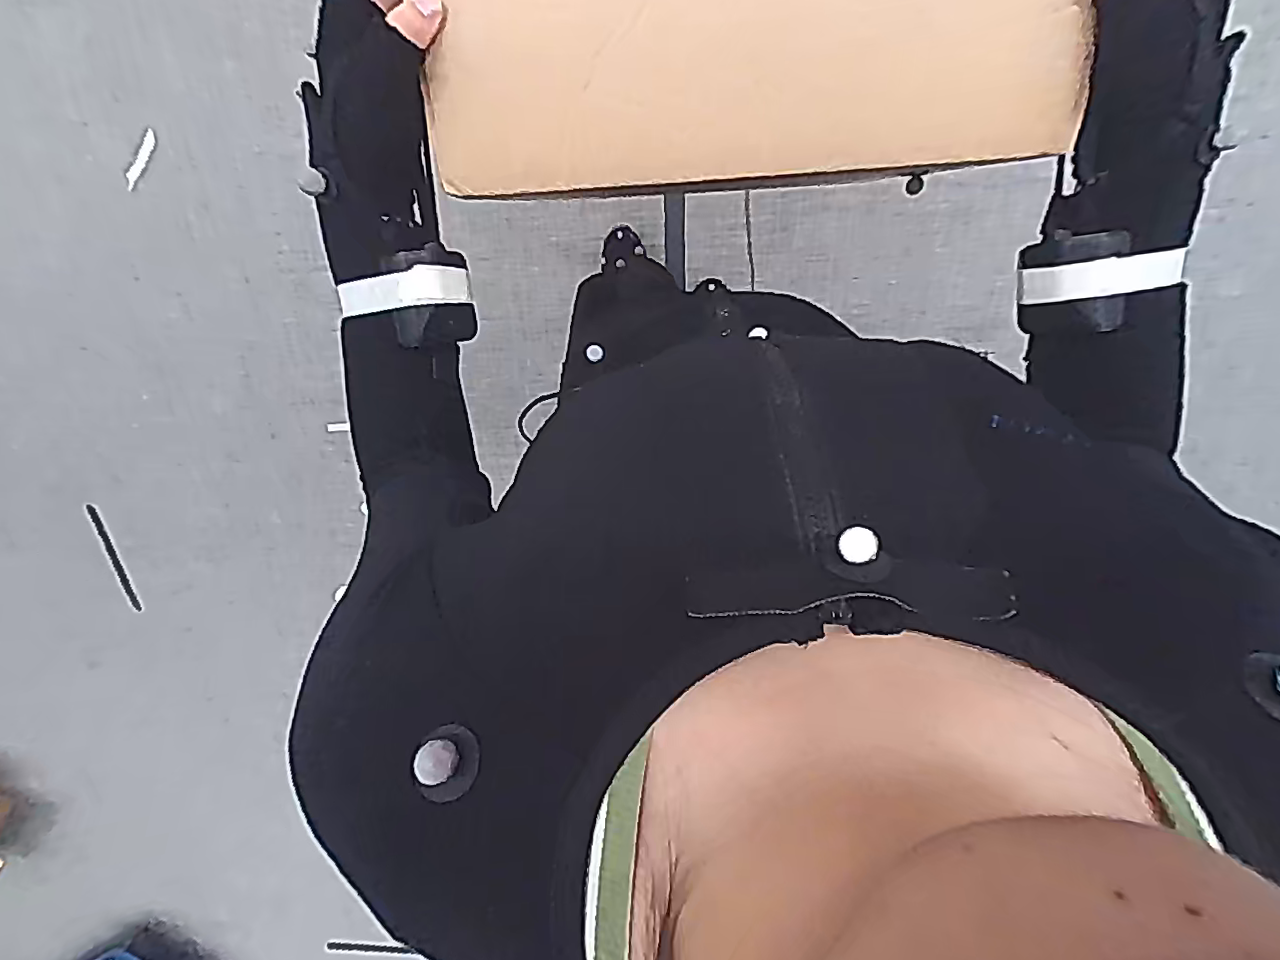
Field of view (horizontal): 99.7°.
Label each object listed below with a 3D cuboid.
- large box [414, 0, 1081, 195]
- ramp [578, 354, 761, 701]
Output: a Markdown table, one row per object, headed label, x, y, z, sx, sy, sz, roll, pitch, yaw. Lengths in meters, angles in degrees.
| label | x | y | z | sx | sy | sz | roll | pitch | yaw |
| --- | --- | --- | --- | --- | --- | --- | --- | --- | --- |
| large box | 0.062 | -0.412 | 0.422 | 0.408 | 0.320 | 0.320 | -3 | 117 | 2 |
| ramp | 0.086 | 0.164 | 1.523 | 0.509 | 0.206 | 0.991 | -2 | 111 | 5 |
